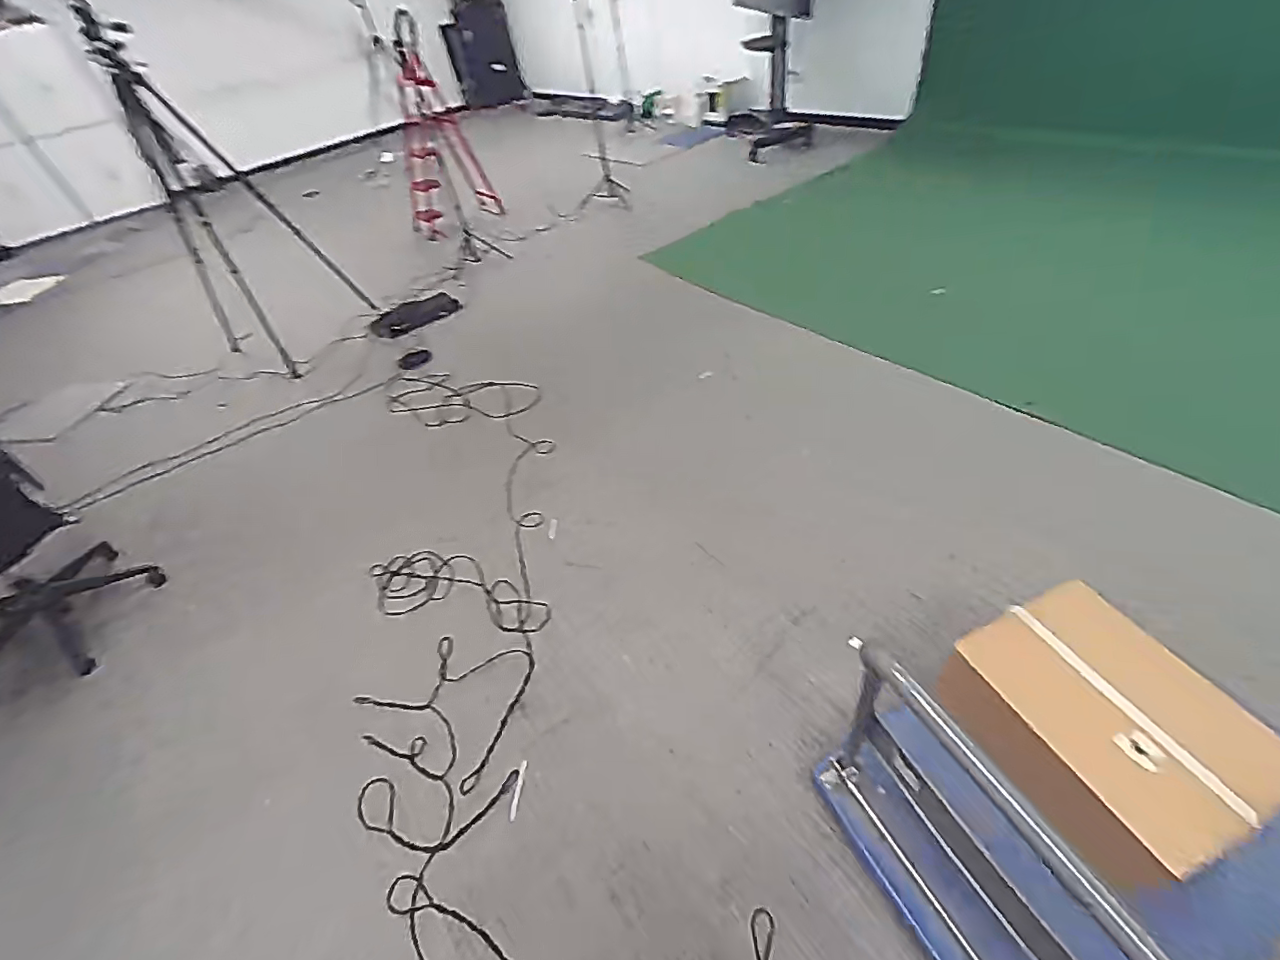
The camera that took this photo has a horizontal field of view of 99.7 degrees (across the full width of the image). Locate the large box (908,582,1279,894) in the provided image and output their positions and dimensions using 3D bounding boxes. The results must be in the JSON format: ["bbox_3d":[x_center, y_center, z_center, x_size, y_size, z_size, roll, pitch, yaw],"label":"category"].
[{"bbox_3d":[0.819,0.487,1.054,0.320,0.320,0.408,-23,46,-11],"label":"large box"}]
